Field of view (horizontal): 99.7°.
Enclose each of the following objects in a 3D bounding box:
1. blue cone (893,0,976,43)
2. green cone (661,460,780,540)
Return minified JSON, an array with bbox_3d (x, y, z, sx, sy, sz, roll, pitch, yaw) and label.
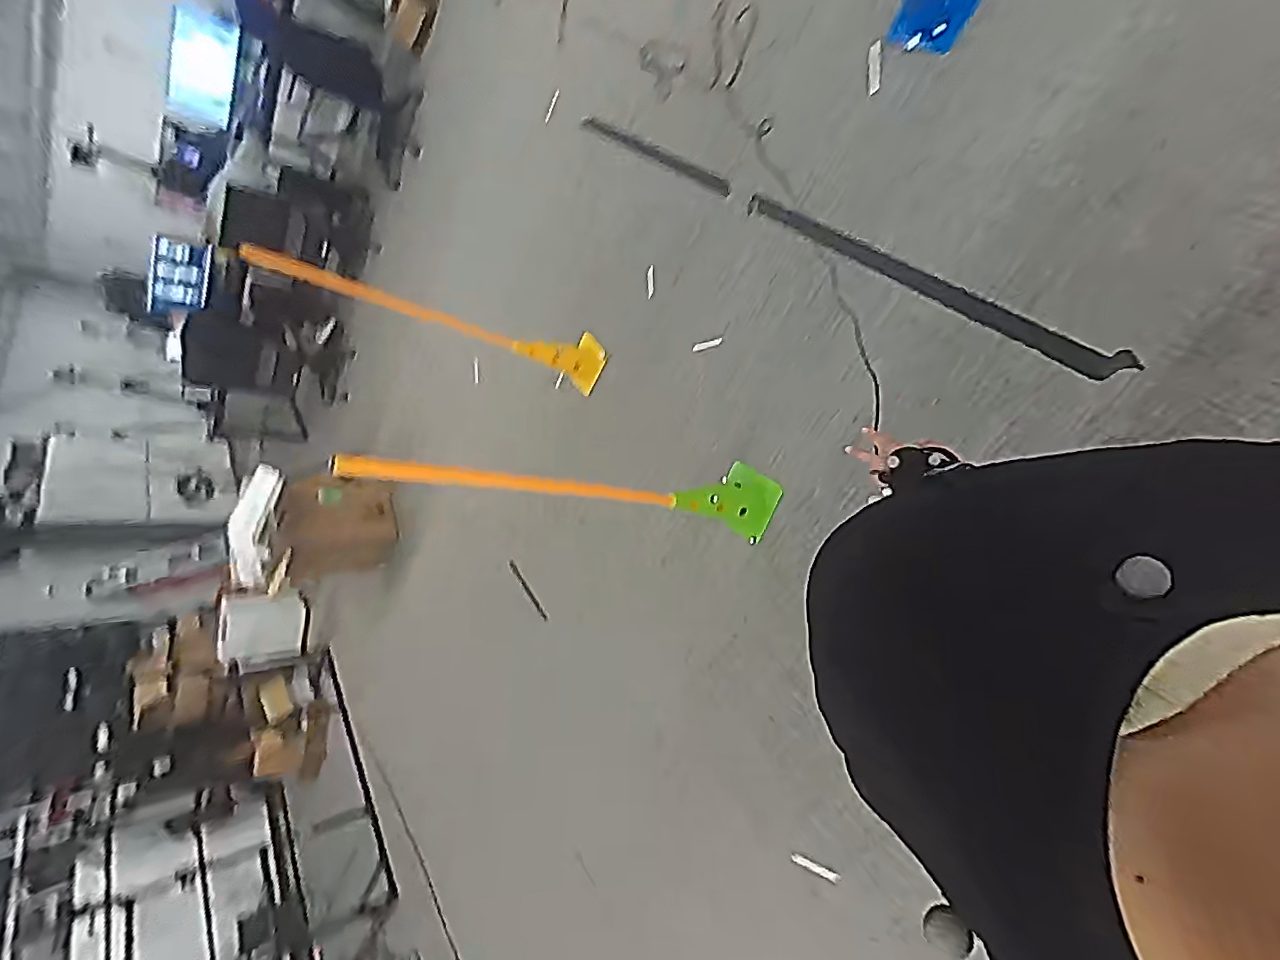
[{"bbox_3d":[0.633,-1.204,1.225,0.192,0.380,0.193,52,122,34],"label":"blue cone"},{"bbox_3d":[0.203,0.048,1.556,0.202,0.368,0.200,38,113,42],"label":"green cone"}]
